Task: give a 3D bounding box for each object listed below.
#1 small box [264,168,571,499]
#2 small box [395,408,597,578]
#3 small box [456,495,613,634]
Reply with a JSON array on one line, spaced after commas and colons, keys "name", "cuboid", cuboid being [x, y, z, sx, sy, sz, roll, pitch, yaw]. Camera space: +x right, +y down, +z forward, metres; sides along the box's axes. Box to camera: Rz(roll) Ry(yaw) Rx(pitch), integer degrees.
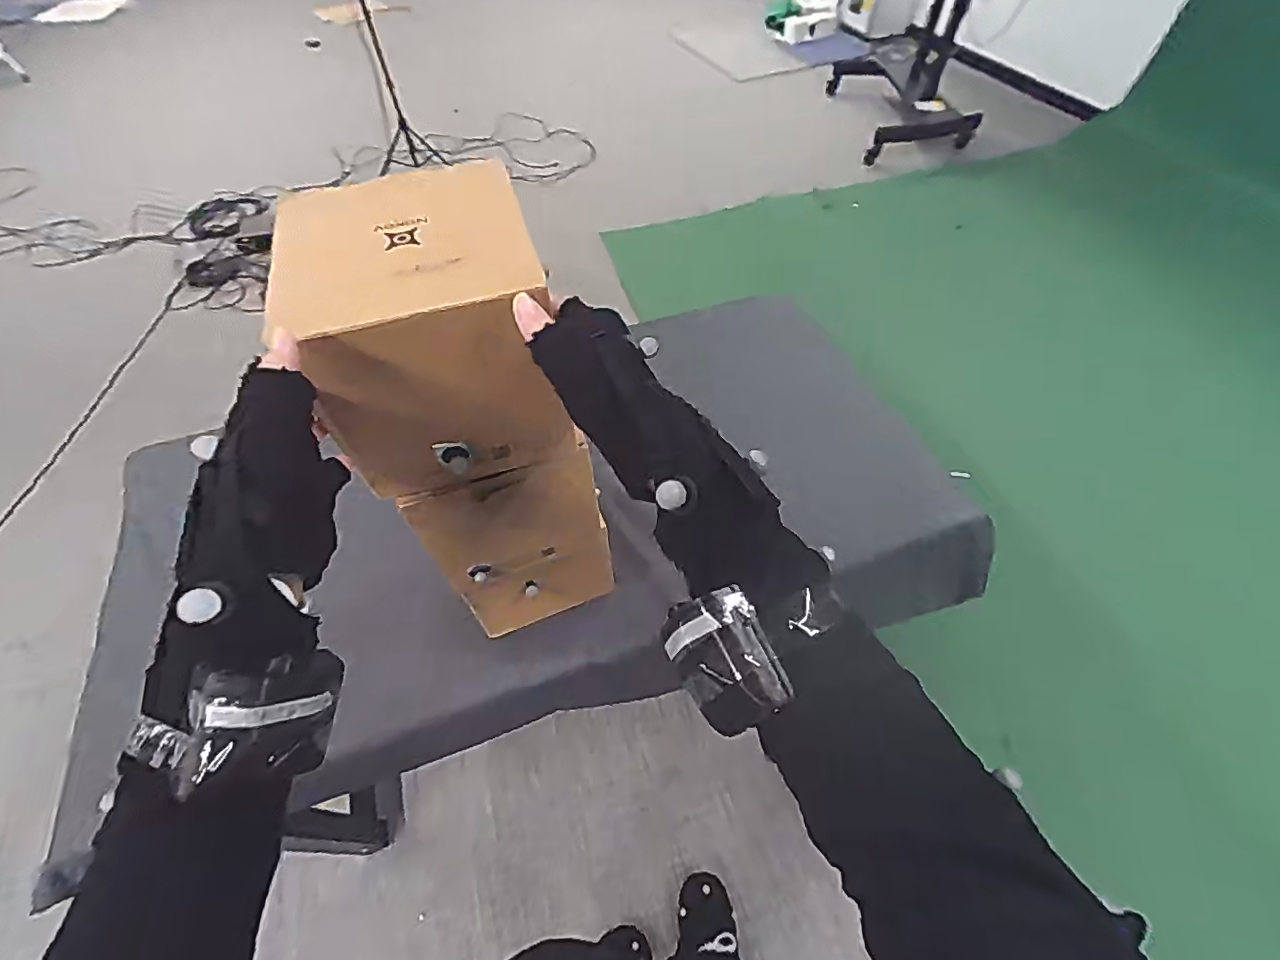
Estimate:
[{"name": "small box", "cuboid": [-0.160, -0.113, 0.432, 0.168, 0.176, 0.179, -15, 56, -9]}, {"name": "small box", "cuboid": [-0.152, -0.018, 0.569, 0.168, 0.176, 0.179, -19, 54, -12]}, {"name": "small box", "cuboid": [-0.149, 0.073, 0.710, 0.179, 0.176, 0.168, -22, 54, -15]}]
